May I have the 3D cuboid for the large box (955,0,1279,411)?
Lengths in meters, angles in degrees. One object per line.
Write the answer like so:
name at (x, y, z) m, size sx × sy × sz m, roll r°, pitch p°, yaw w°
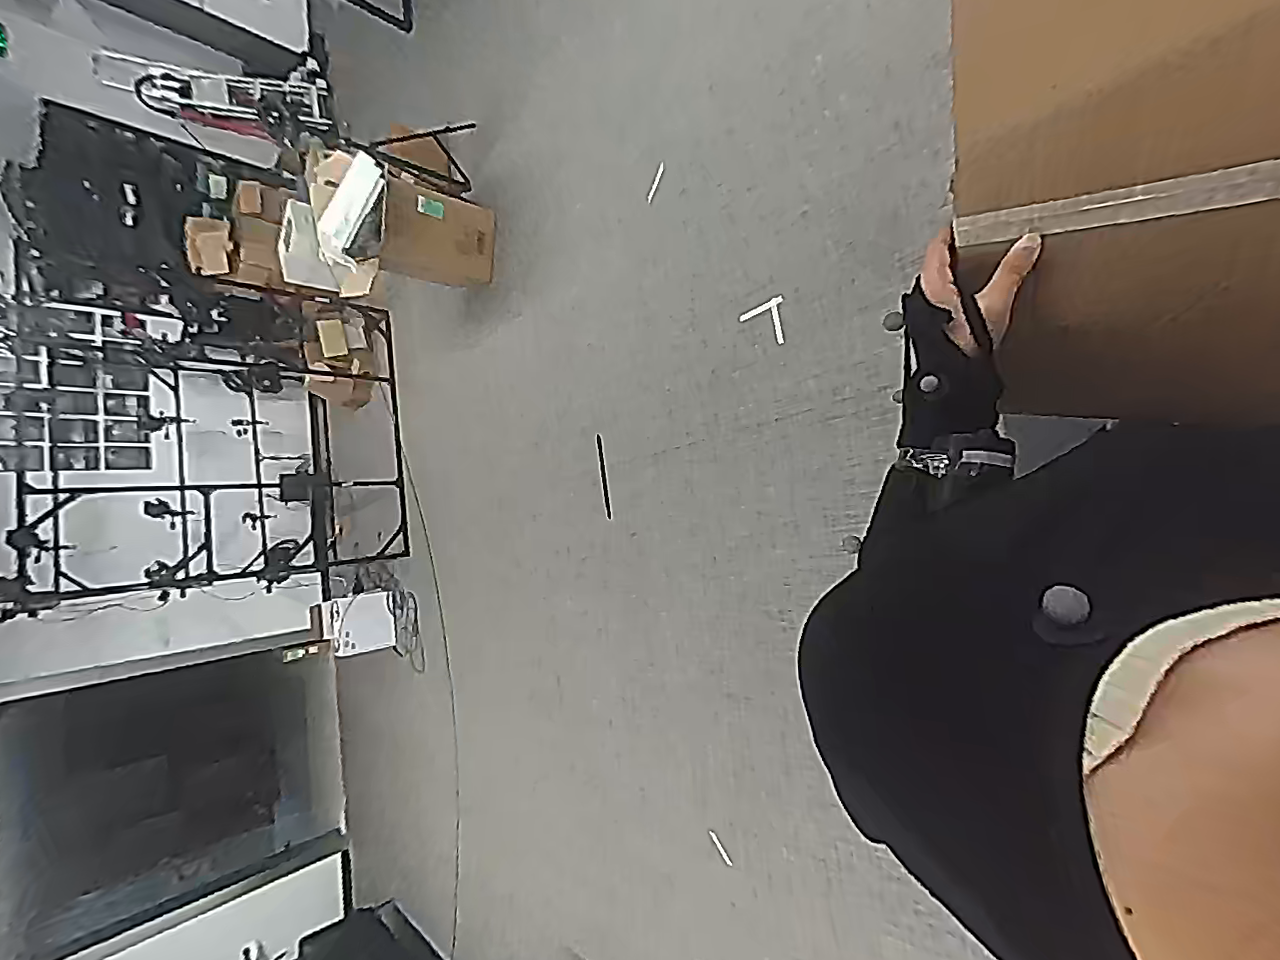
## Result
large box at (0.483, -0.251, 0.360) m, size 0.408 × 0.320 × 0.320 m, roll 10°, pitch 131°, yaw 44°
